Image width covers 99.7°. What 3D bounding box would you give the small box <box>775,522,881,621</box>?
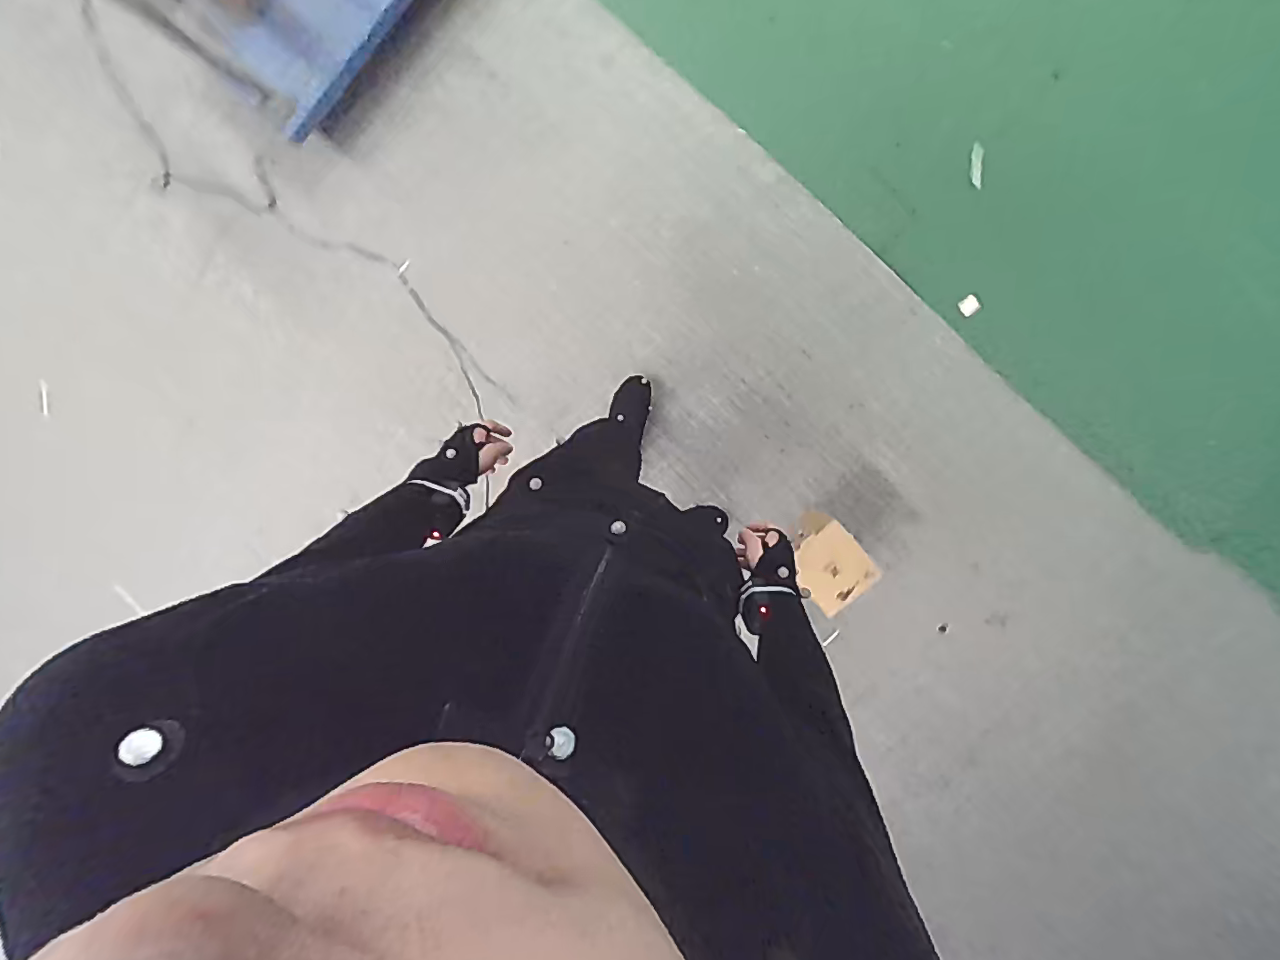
[{"bbox_3d":[0.459,0.218,1.356,0.168,0.176,0.179,-40,86,8],"label":"small box"}]

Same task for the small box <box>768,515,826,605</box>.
[{"bbox_3d":[0.480,0.215,1.518,0.179,0.176,0.168,-40,87,8],"label":"small box"}]
